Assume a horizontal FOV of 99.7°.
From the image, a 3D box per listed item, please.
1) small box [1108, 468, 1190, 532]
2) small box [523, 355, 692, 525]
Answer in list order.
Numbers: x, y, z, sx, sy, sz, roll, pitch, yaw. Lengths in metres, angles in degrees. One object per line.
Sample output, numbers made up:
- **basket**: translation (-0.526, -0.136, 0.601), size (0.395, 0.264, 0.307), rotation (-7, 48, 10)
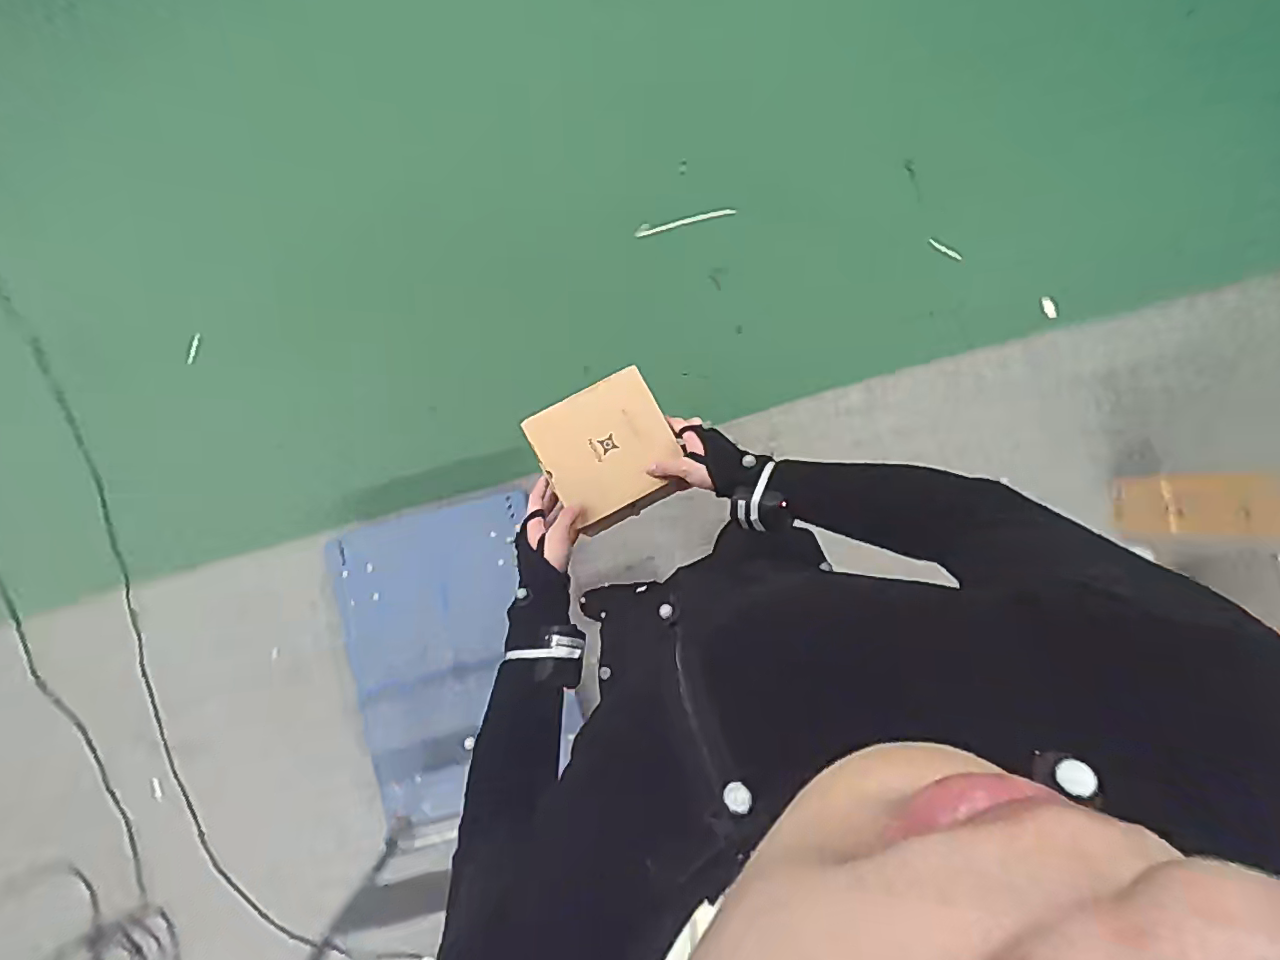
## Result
- **small box**: translation (1.505, 0.057, 1.560), size (0.179, 0.176, 0.168), rotation (-10, 86, -2)
- **small box**: translation (-0.040, -0.045, 0.776), size (0.179, 0.176, 0.168), rotation (-26, 82, -3)
